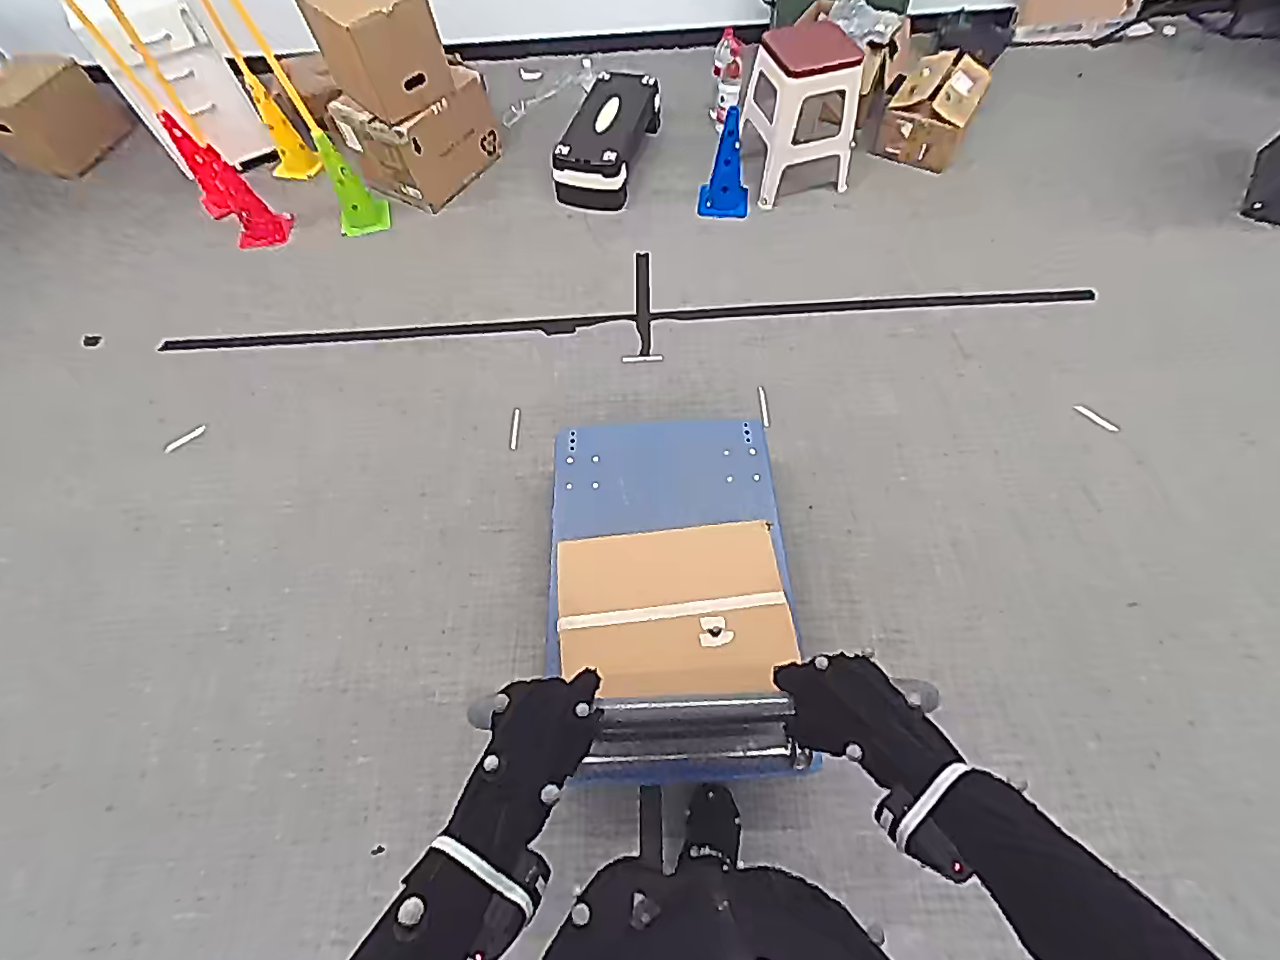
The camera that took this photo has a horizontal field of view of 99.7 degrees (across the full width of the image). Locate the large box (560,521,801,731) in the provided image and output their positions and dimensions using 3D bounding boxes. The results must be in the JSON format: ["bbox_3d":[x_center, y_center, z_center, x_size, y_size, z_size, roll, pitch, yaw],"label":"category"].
[{"bbox_3d":[0.062,0.308,1.107,0.408,0.320,0.320,-6,61,-2],"label":"large box"}]
